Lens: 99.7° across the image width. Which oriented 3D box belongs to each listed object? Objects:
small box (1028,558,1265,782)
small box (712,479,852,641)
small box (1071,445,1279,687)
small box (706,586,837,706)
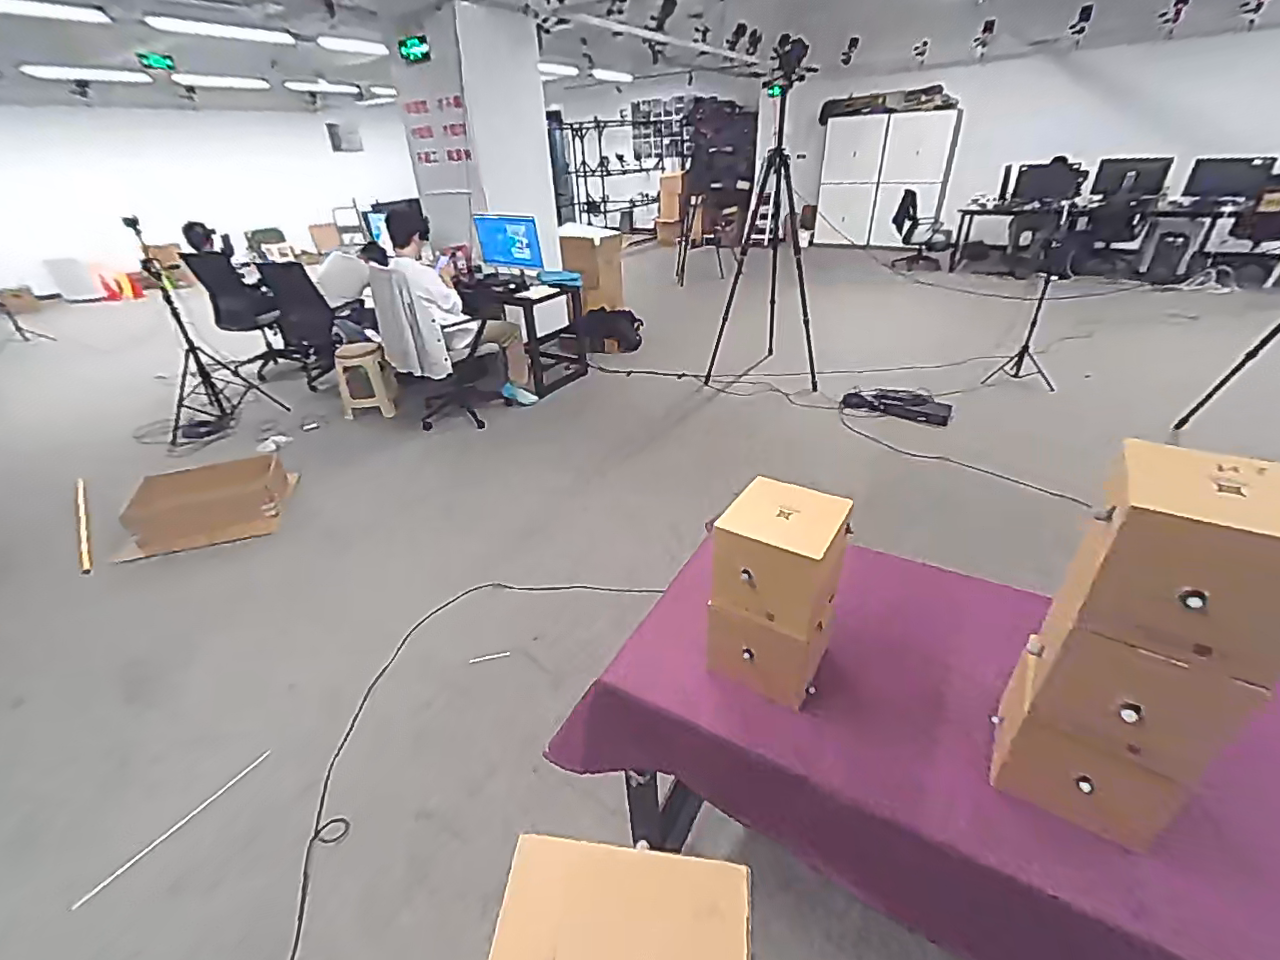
[{"bbox_3d":[0.610,0.228,0.674,0.168,0.176,0.179,19,38,32],"label":"small box"},{"bbox_3d":[0.227,0.126,0.876,0.168,0.176,0.179,17,35,29],"label":"small box"},{"bbox_3d":[0.600,0.085,0.589,0.168,0.176,0.179,18,36,31],"label":"small box"},{"bbox_3d":[0.230,0.266,0.959,0.179,0.176,0.168,16,35,29],"label":"small box"}]
